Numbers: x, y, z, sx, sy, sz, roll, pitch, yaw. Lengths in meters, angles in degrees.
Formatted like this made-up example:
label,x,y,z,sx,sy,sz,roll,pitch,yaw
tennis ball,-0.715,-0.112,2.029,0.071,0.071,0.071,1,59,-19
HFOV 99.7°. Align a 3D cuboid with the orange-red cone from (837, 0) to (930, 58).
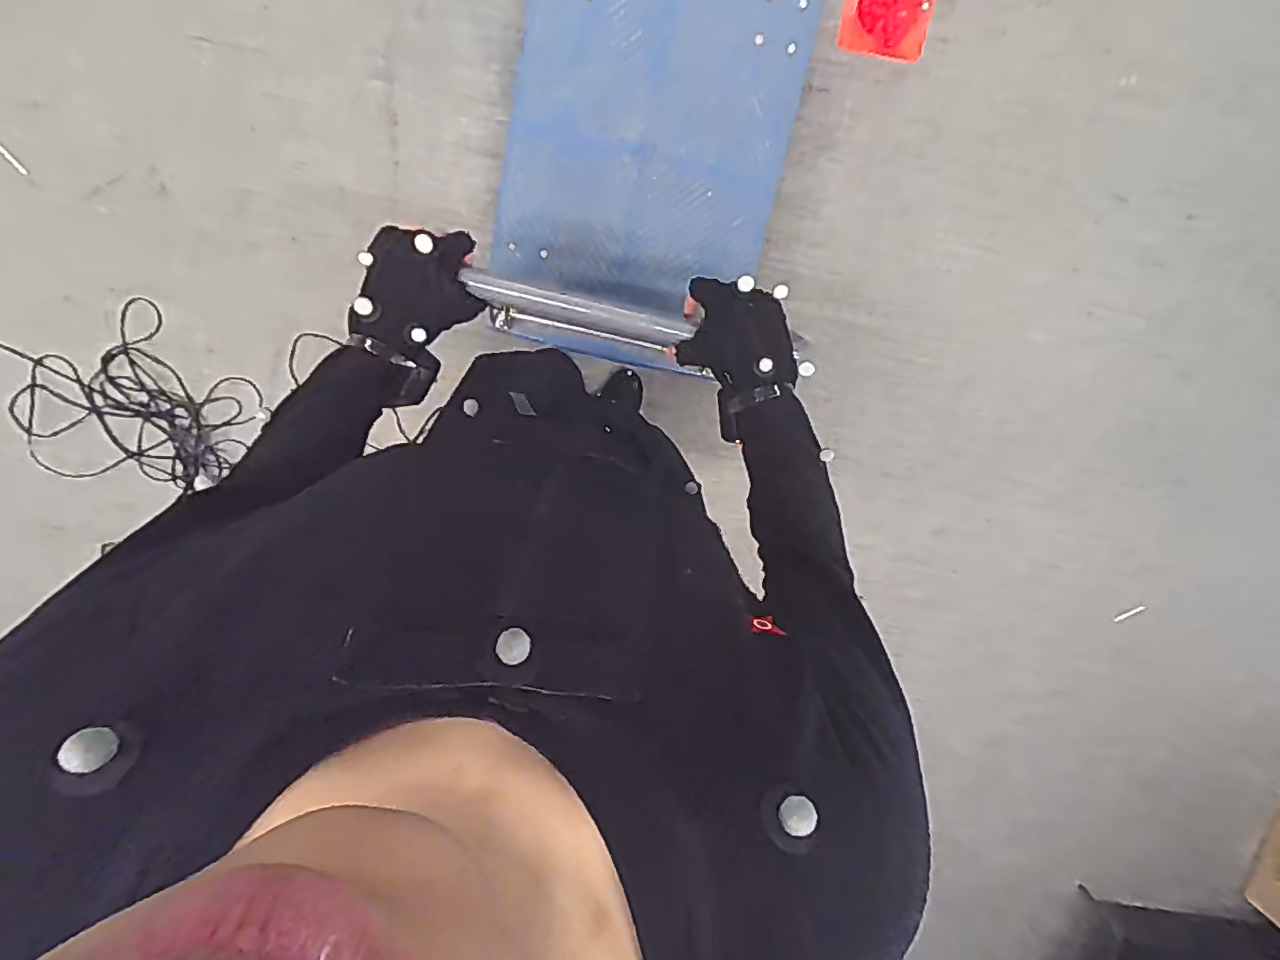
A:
label,x,y,z,sx,sy,sz,roll,pitch,yaw
orange-red cone,0.565,-1.058,1.077,0.199,0.360,0.198,11,102,-2
